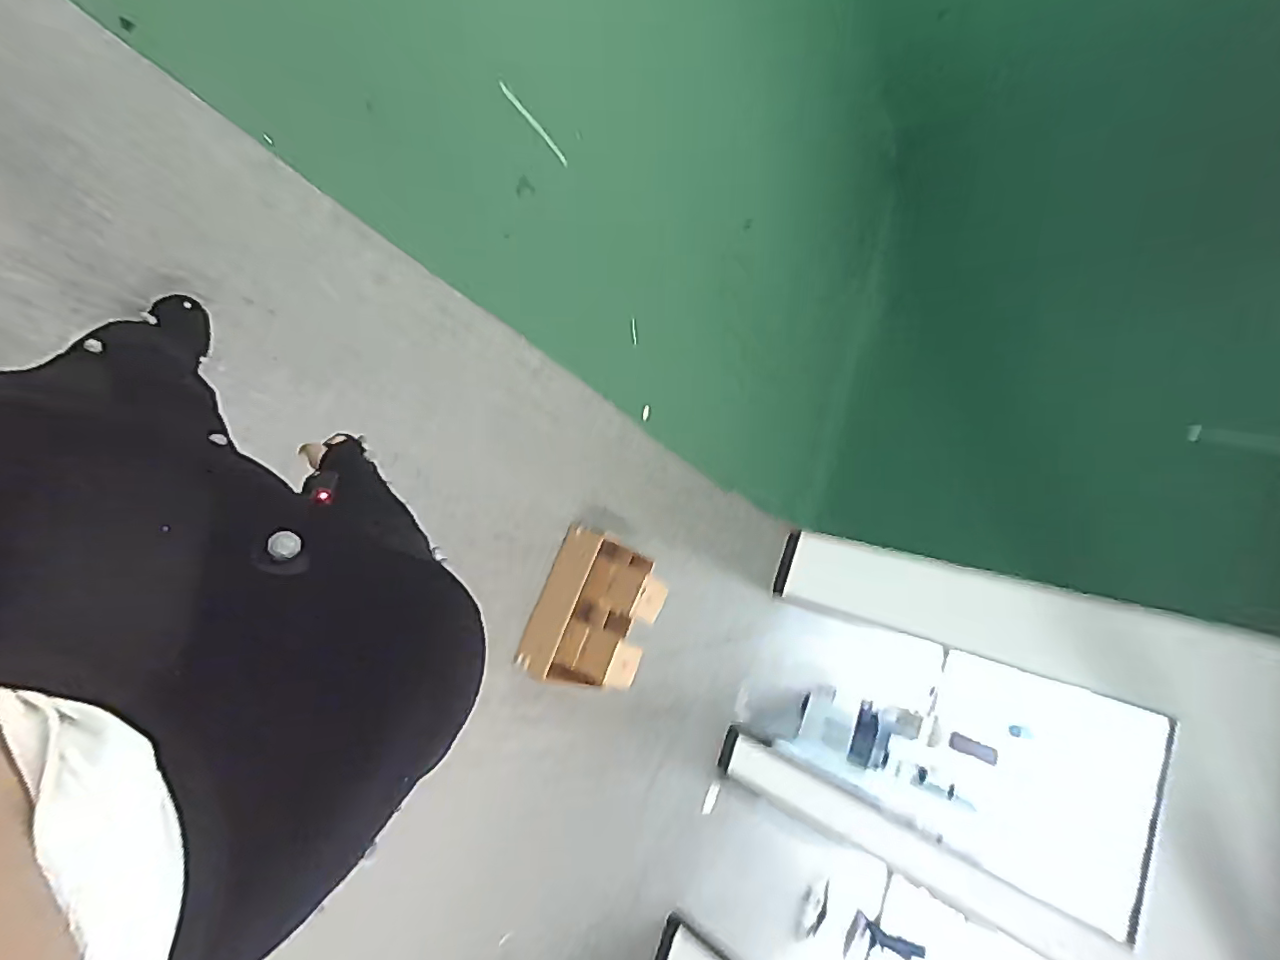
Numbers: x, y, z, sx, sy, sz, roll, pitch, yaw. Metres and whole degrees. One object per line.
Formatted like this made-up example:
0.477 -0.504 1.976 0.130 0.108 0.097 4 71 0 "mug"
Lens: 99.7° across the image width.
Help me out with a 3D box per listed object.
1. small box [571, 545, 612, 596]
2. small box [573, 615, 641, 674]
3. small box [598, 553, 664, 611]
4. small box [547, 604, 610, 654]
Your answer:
-0.161 0.386 2.293 0.179 0.176 0.168 31 78 -48 "small box"
-0.131 0.651 2.146 0.179 0.176 0.168 35 71 -47 "small box"
-0.036 0.410 2.189 0.179 0.176 0.168 39 70 -48 "small box"
-0.257 0.625 2.248 0.179 0.176 0.168 31 75 -48 "small box"
